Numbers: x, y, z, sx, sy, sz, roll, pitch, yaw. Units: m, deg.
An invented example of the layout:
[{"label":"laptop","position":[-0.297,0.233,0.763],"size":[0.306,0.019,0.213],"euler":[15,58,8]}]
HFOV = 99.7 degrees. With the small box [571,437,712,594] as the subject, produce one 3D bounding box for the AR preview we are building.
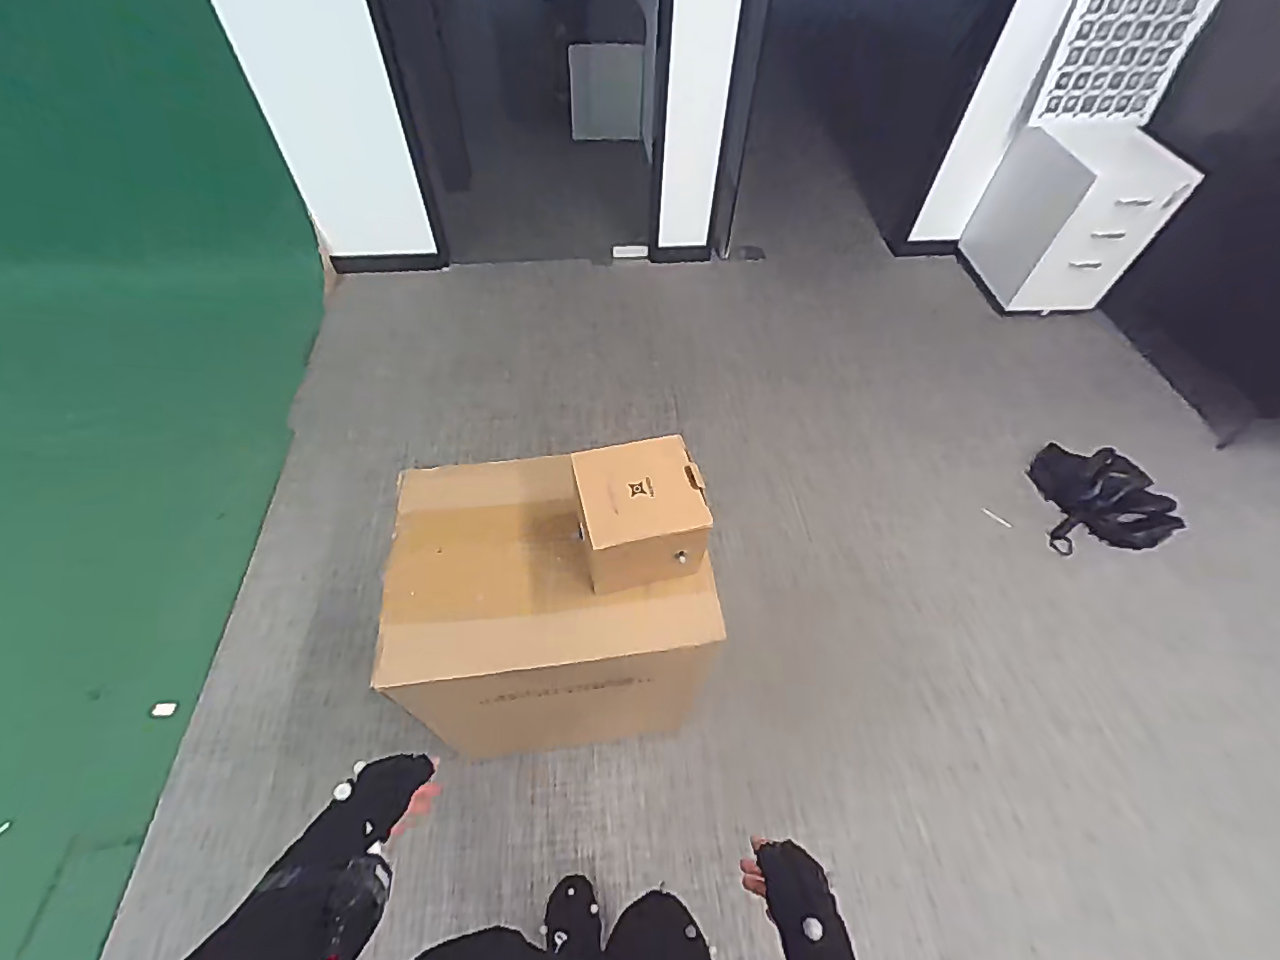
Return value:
[{"label":"small box","position":[-0.005,0.060,0.852],"size":[0.179,0.176,0.168],"euler":[-12,58,-9]}]
